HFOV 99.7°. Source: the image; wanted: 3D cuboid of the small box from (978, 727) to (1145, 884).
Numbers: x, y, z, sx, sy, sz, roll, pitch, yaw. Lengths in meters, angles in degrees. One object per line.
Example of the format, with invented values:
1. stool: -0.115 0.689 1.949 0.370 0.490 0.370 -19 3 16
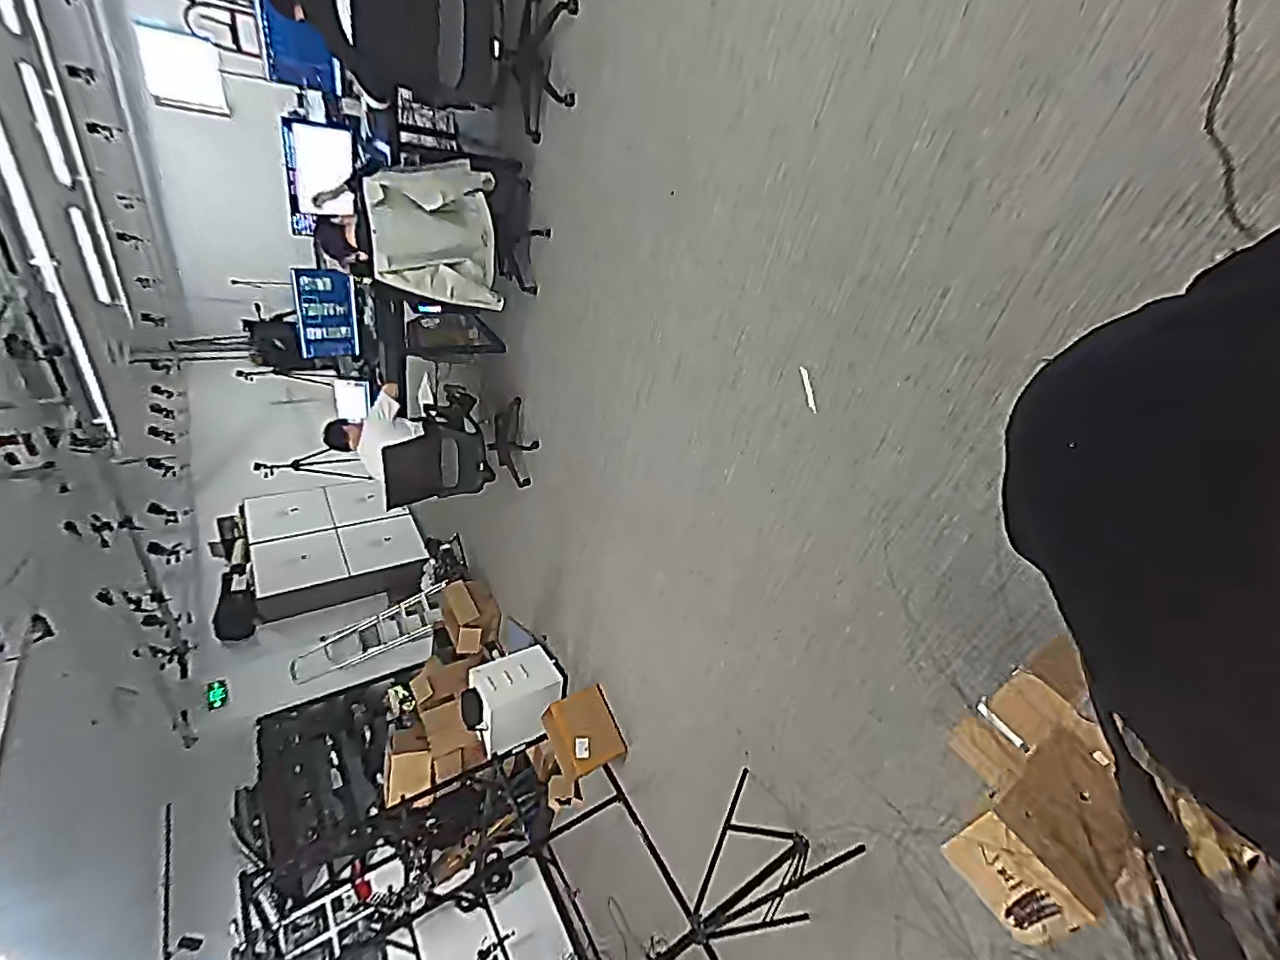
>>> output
1. small box: 0.822 0.625 1.055 0.179 0.176 0.168 47 134 39
